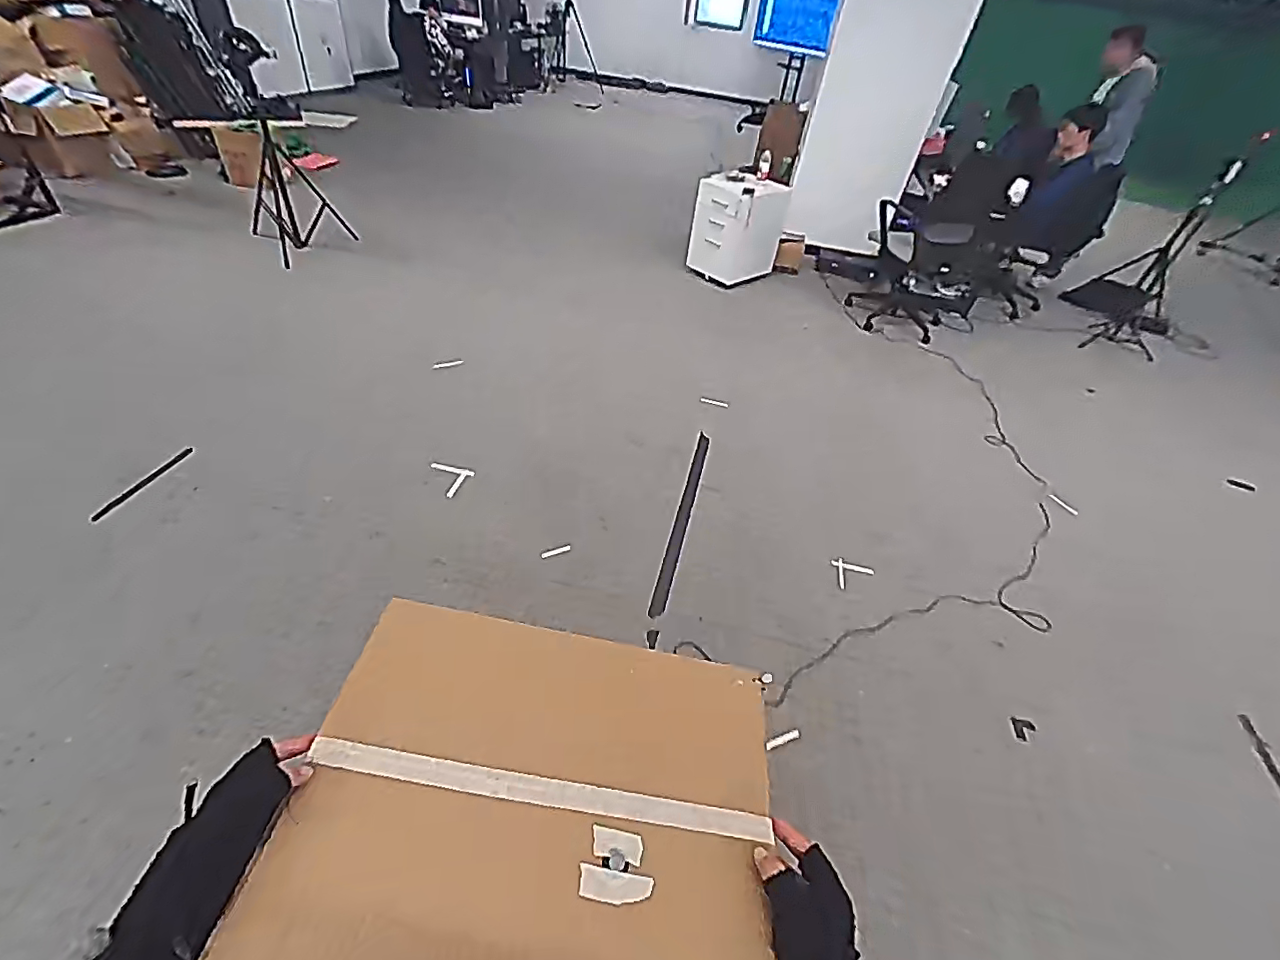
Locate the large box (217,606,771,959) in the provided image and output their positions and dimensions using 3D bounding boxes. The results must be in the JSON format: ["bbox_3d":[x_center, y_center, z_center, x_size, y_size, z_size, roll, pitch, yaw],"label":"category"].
[{"bbox_3d":[-0.113,0.381,0.578,0.408,0.320,0.320,13,42,-4],"label":"large box"}]
